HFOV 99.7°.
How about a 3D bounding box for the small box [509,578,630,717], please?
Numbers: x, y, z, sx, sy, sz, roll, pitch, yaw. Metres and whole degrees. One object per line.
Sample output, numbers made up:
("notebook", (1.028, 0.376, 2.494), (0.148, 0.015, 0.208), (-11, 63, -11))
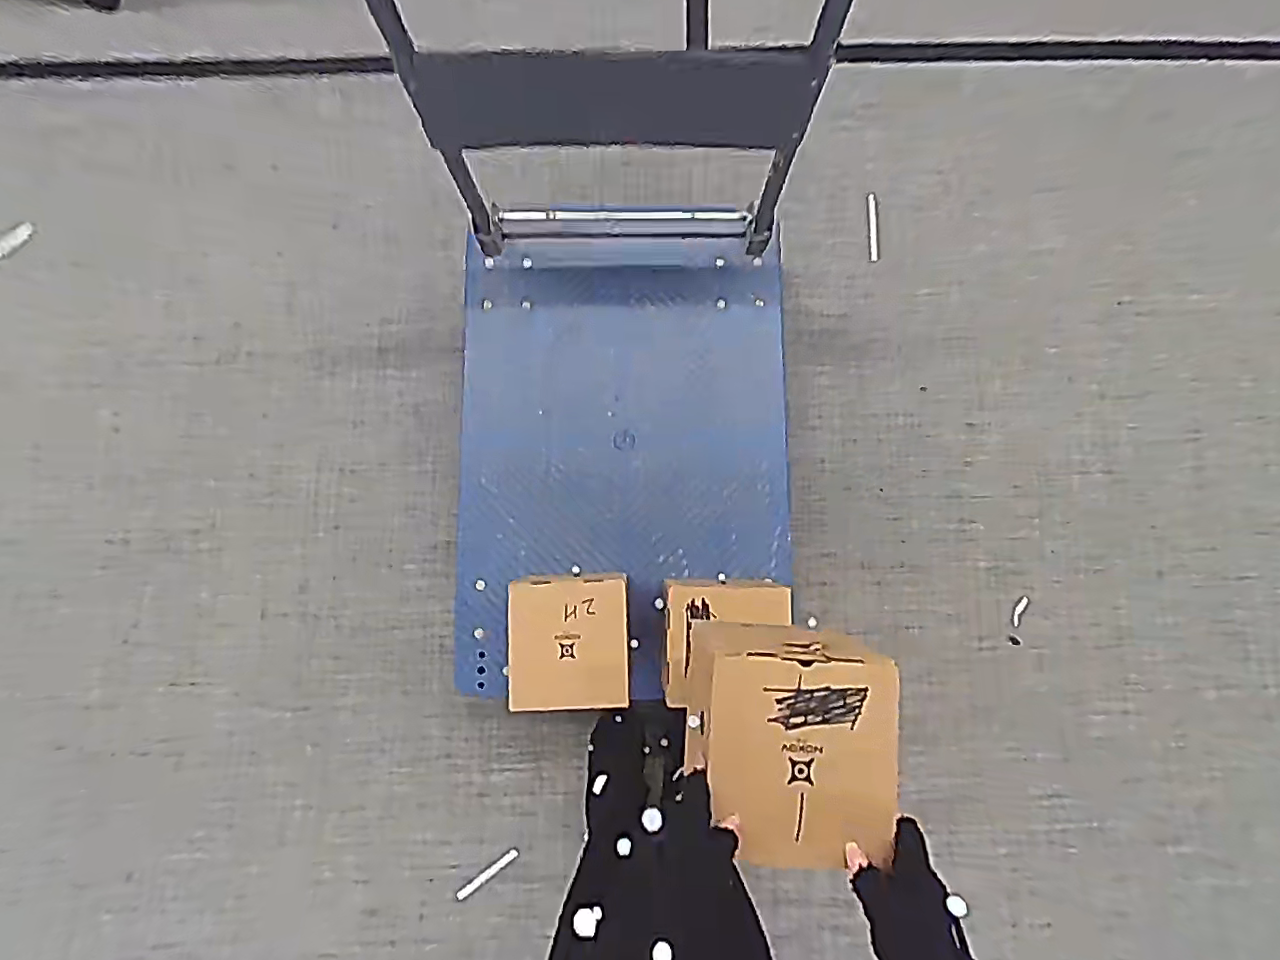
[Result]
("small box", (-0.100, 0.246, 0.828), (0.168, 0.176, 0.179), (-1, 83, -1))

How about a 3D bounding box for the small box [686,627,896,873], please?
("small box", (0.139, 0.253, 0.550), (0.168, 0.176, 0.179), (4, 85, 0))
